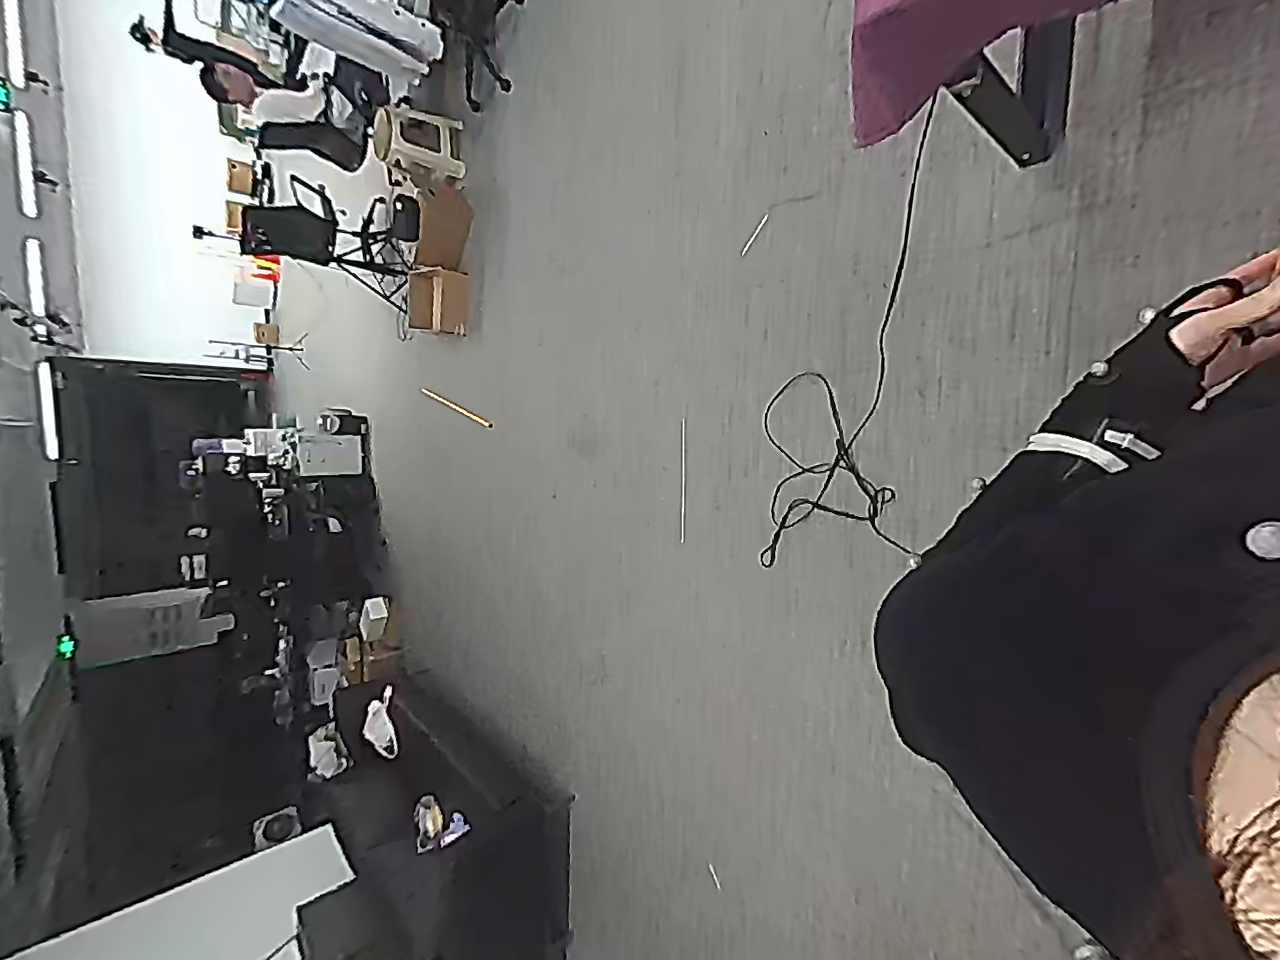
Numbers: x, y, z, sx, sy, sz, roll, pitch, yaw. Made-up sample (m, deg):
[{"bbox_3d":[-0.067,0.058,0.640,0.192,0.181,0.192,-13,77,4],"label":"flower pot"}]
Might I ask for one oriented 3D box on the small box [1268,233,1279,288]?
[{"bbox_3d":[0.521,-0.200,0.306,0.179,0.176,0.168,16,109,37],"label":"small box"}]
